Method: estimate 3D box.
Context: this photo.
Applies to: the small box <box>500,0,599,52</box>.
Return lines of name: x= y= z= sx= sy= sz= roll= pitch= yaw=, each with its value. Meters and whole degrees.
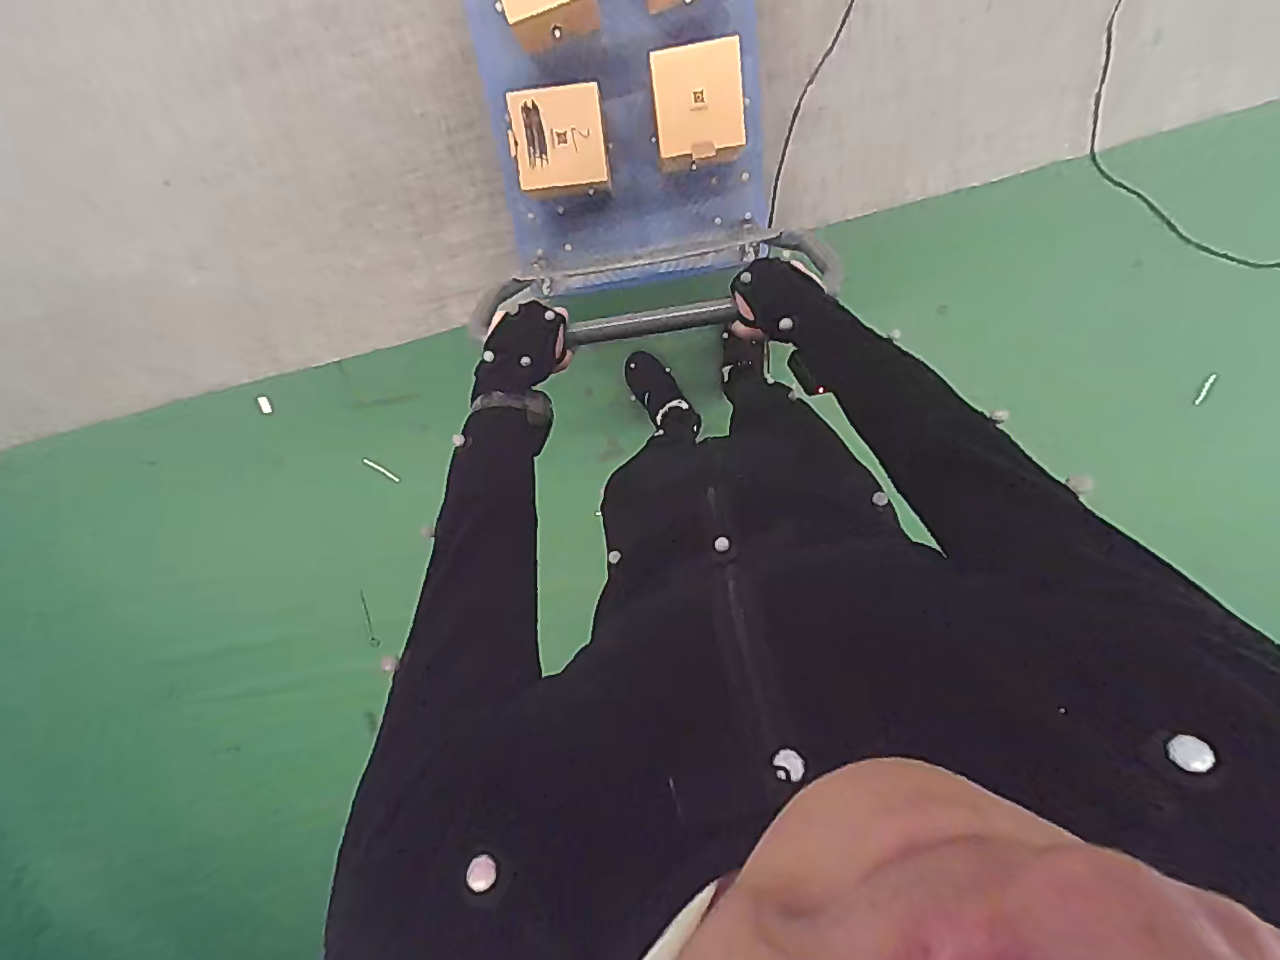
small box: x=-0.181 y=-0.942 z=1.010 sx=0.168 sy=0.176 sz=0.179 roll=-16 pitch=111 yaw=6

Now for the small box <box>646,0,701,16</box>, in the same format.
small box: x=0.071 y=-1.003 z=0.981 sx=0.168 sy=0.176 sz=0.179 roll=-15 pitch=111 yaw=8

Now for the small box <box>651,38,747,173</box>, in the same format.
small box: x=0.114 y=-0.740 z=1.088 sx=0.168 sy=0.176 sz=0.179 roll=-8 pitch=112 yaw=4
